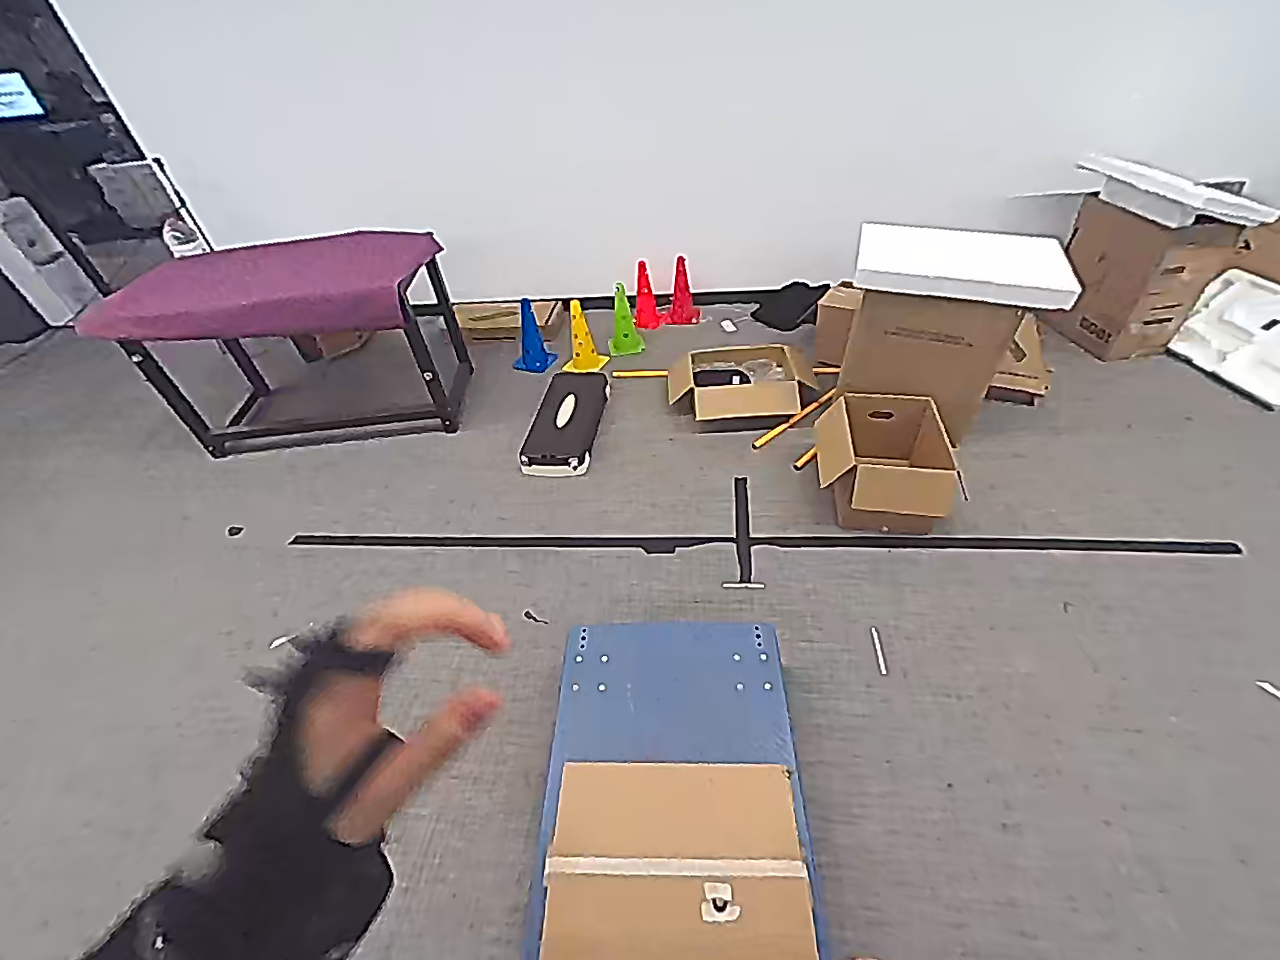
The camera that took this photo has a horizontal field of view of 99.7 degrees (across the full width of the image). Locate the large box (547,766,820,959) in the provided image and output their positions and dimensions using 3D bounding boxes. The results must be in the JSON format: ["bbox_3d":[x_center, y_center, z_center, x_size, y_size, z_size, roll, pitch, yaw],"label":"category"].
[{"bbox_3d":[0.070,0.733,0.964,0.408,0.320,0.320,-1,43,3],"label":"large box"}]
